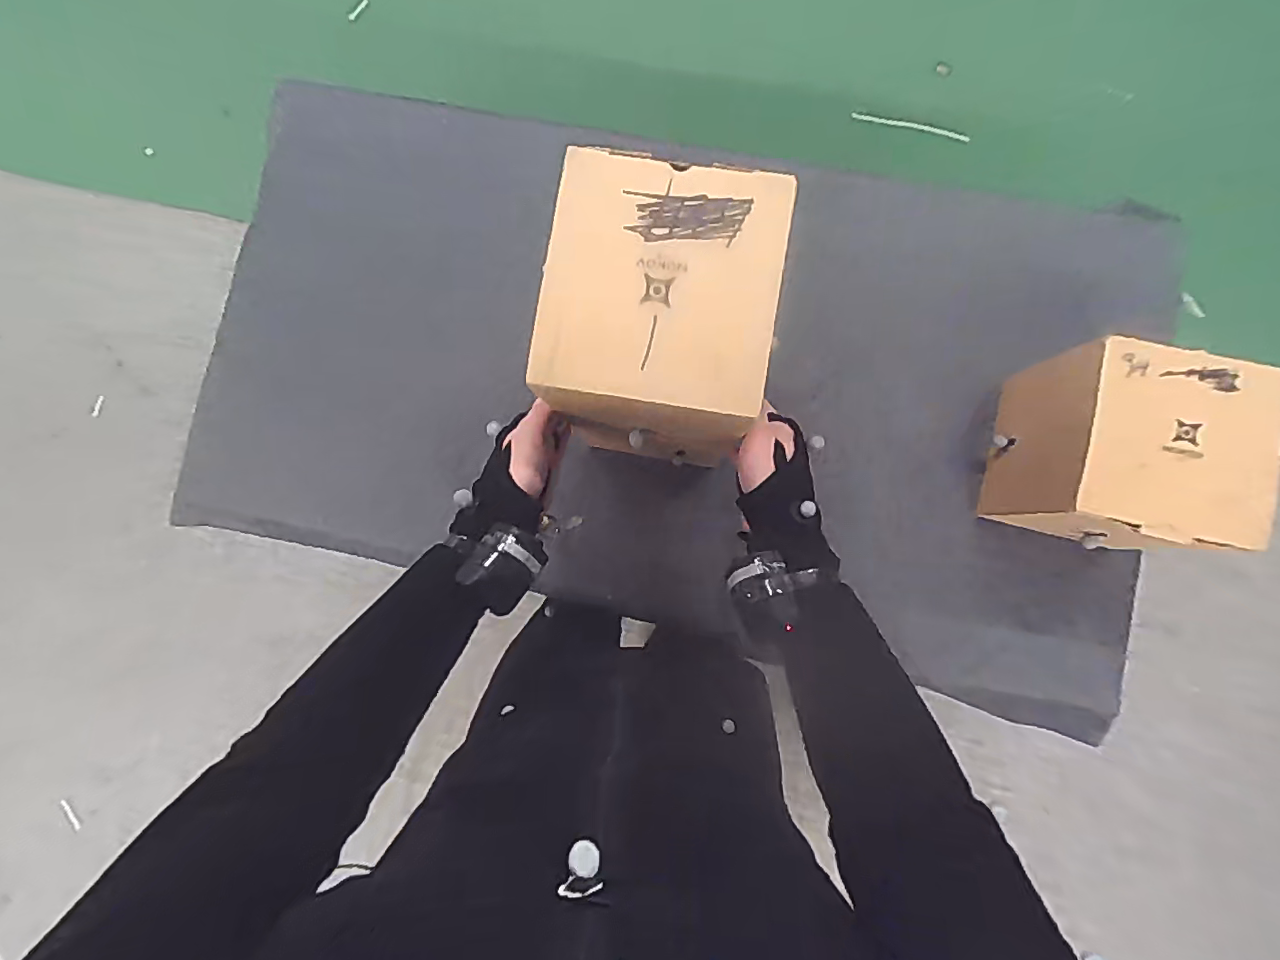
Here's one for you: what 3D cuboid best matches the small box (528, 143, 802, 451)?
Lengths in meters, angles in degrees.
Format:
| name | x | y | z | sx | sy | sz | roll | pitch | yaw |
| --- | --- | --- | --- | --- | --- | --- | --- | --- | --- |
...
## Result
| name | x | y | z | sx | sy | sz | roll | pitch | yaw |
| --- | --- | --- | --- | --- | --- | --- | --- | --- | --- |
| small box | 0.021 | -0.131 | 0.447 | 0.168 | 0.176 | 0.179 | 9 | 85 | 4 |

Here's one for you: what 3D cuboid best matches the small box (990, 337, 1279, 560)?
| name | x | y | z | sx | sy | sz | roll | pitch | yaw |
| --- | --- | --- | --- | --- | --- | --- | --- | --- | --- |
| small box | 0.504 | -0.023 | 0.565 | 0.168 | 0.176 | 0.179 | 13 | 85 | 6 |

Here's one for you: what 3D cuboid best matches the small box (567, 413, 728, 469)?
| name | x | y | z | sx | sy | sz | roll | pitch | yaw |
| --- | --- | --- | --- | --- | --- | --- | --- | --- | --- |
| small box | 0.028 | -0.116 | 0.610 | 0.168 | 0.176 | 0.179 | 10 | 83 | 4 |
